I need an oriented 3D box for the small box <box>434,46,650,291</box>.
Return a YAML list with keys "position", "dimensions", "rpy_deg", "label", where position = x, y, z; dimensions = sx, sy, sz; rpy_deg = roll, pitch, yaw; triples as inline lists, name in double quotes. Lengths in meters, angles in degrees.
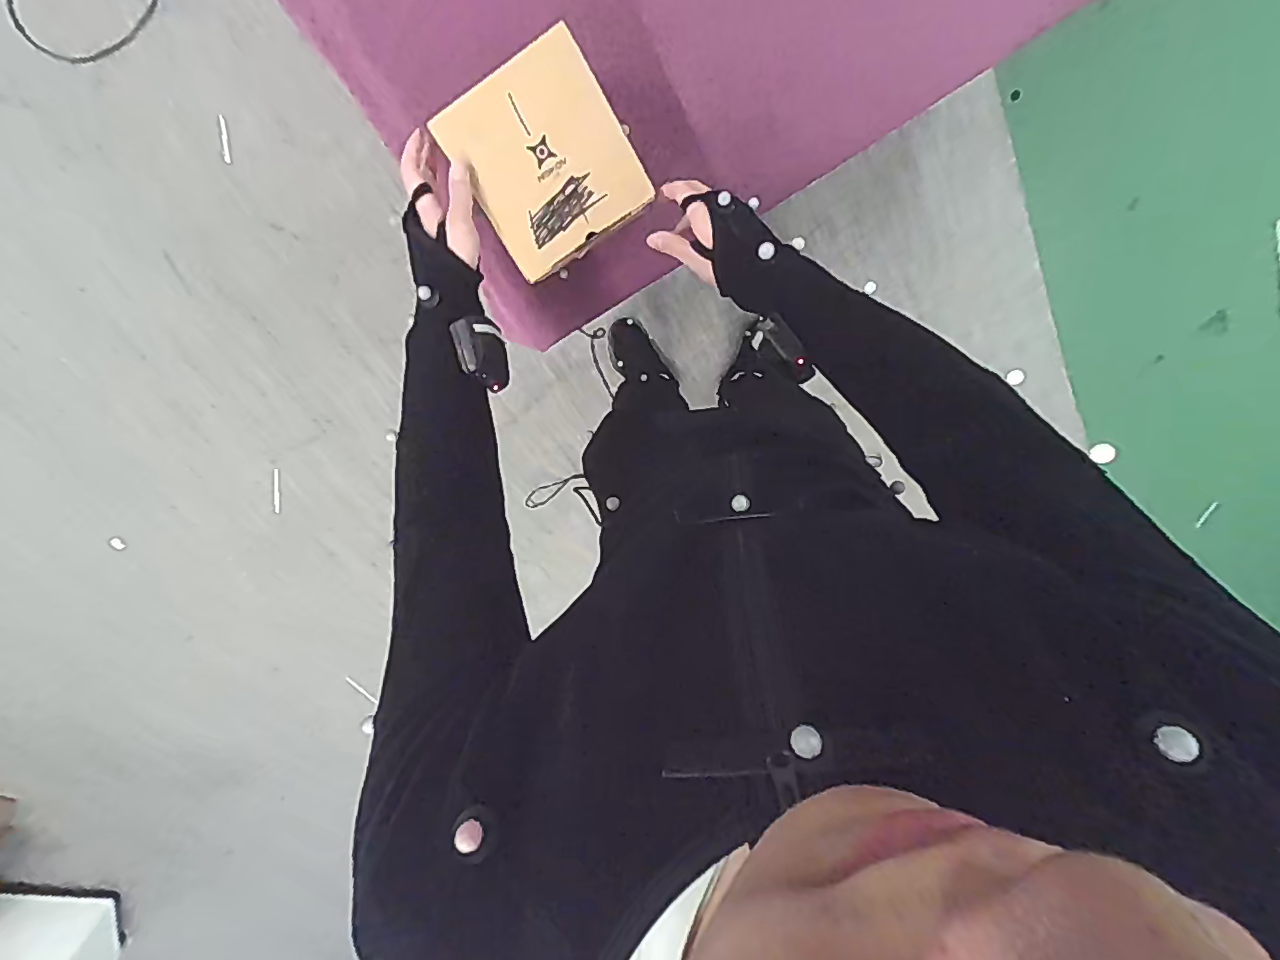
- position: [-0.103, -0.350, 0.644]
  dimensions: [0.168, 0.176, 0.179]
  rpy_deg: [-31, 109, 9]
  label: "small box"
